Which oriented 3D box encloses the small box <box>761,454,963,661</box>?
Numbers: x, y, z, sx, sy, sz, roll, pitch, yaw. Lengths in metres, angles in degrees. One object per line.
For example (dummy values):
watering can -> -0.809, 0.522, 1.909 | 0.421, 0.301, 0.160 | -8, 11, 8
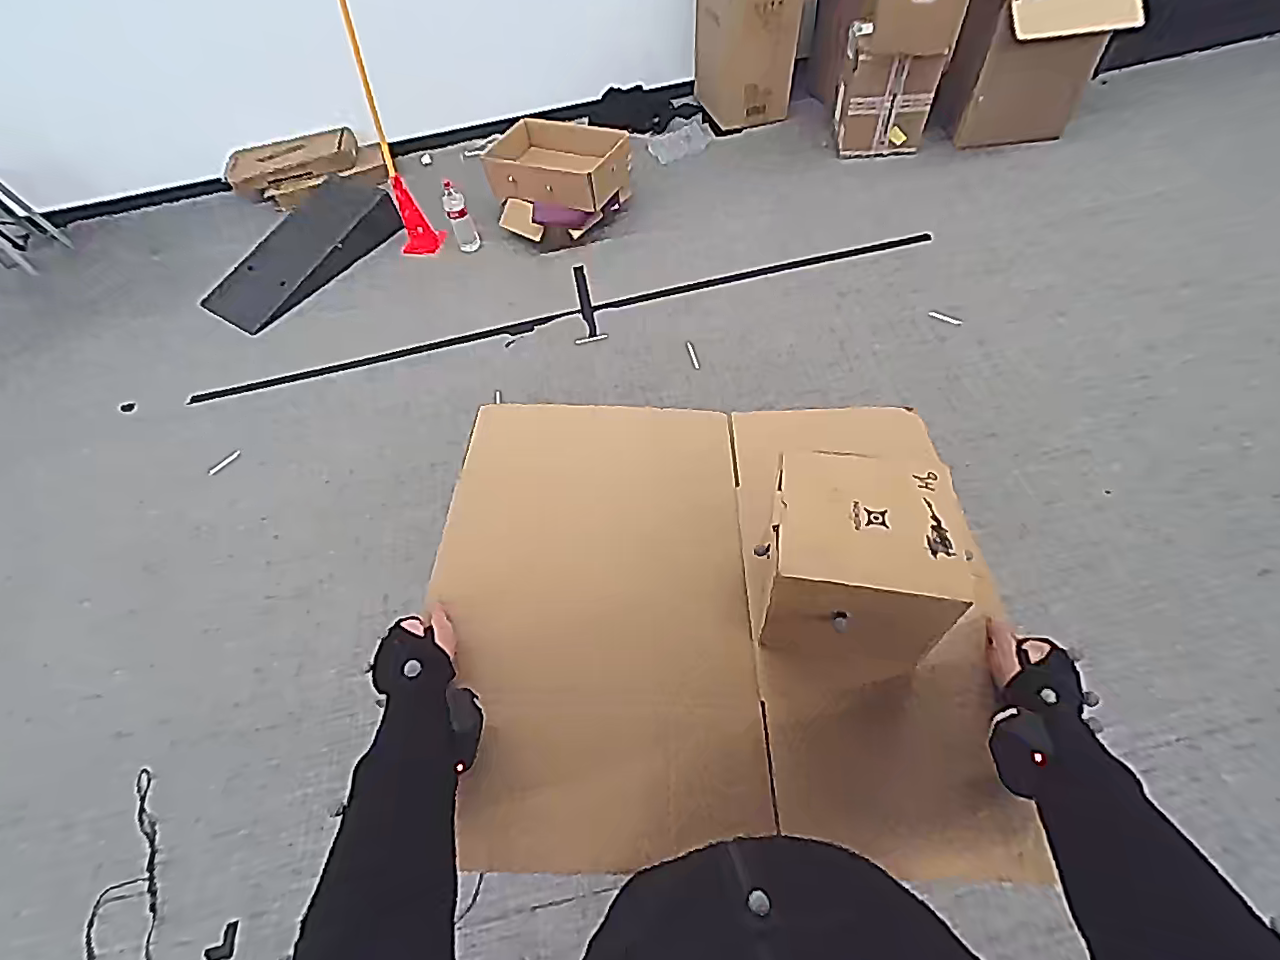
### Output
small box -> 0.234, 0.091, 0.616 | 0.179, 0.176, 0.168 | 6, 53, 11
